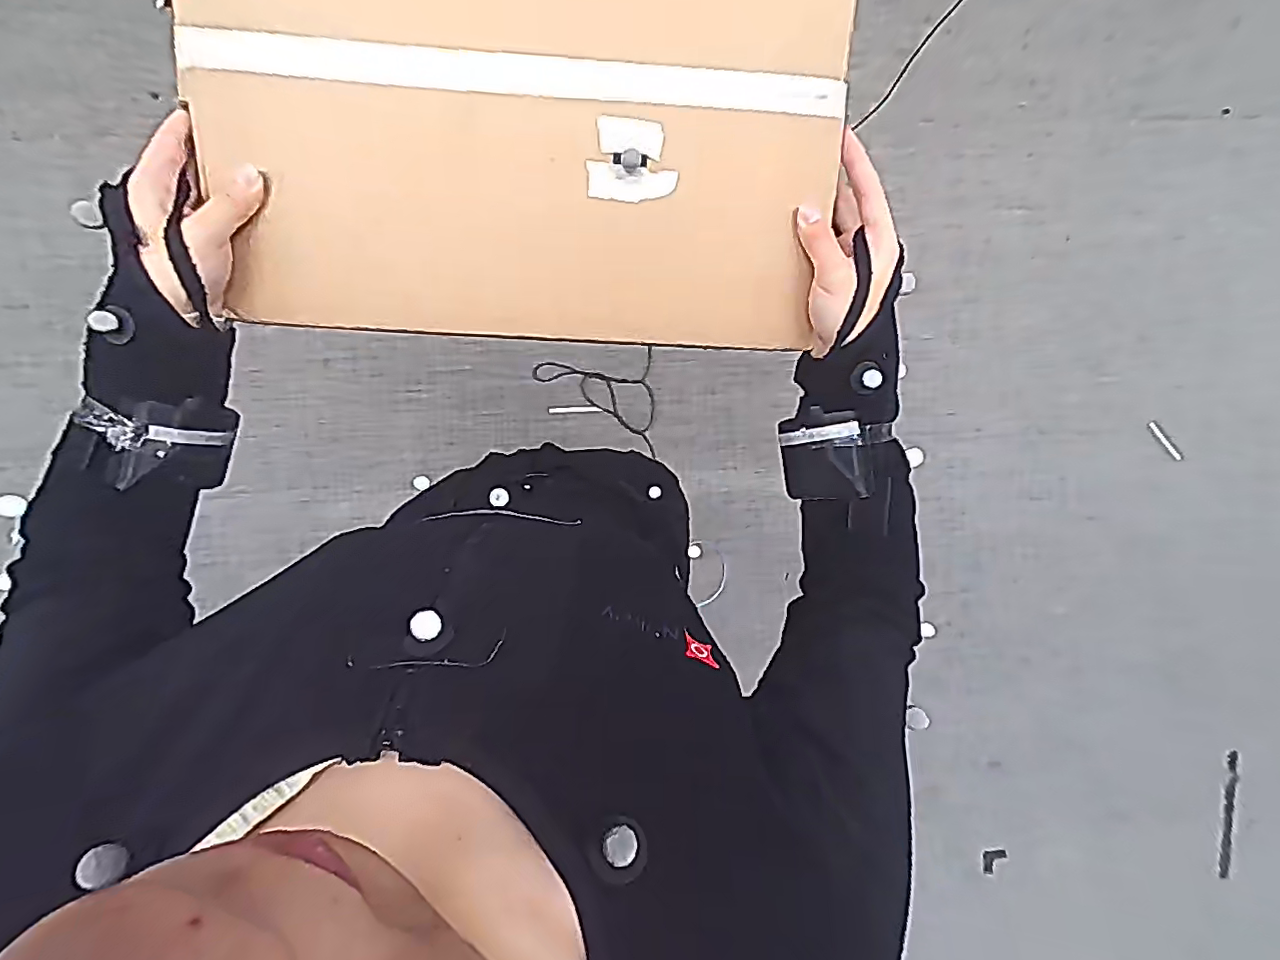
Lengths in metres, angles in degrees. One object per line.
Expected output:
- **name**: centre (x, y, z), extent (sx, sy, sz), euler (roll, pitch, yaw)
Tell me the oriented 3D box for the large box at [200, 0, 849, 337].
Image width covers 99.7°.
- **large box**: centre (-0.079, -0.295, 0.487), extent (0.408, 0.320, 0.320), euler (2, 106, -5)
